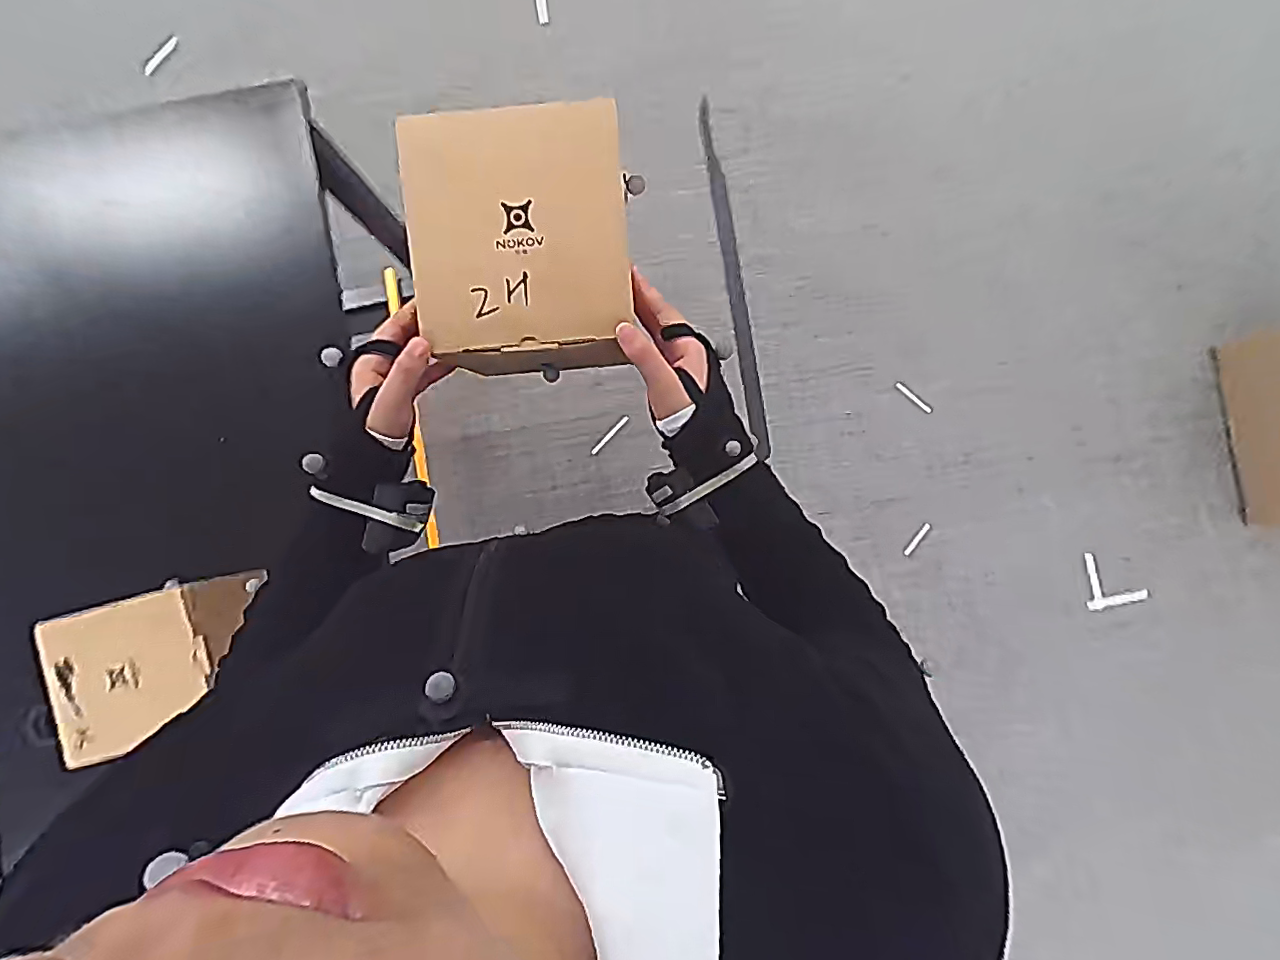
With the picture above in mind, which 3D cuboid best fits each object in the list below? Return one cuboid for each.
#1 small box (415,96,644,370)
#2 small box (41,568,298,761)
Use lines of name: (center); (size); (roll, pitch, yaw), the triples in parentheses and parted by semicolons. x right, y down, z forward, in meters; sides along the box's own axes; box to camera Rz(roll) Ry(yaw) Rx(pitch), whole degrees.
small box: (-0.083, -0.201, 0.488); (0.168, 0.176, 0.179); (-3, 95, 1)
small box: (-0.575, 0.219, 0.691); (0.179, 0.176, 0.168); (-16, 88, -1)
